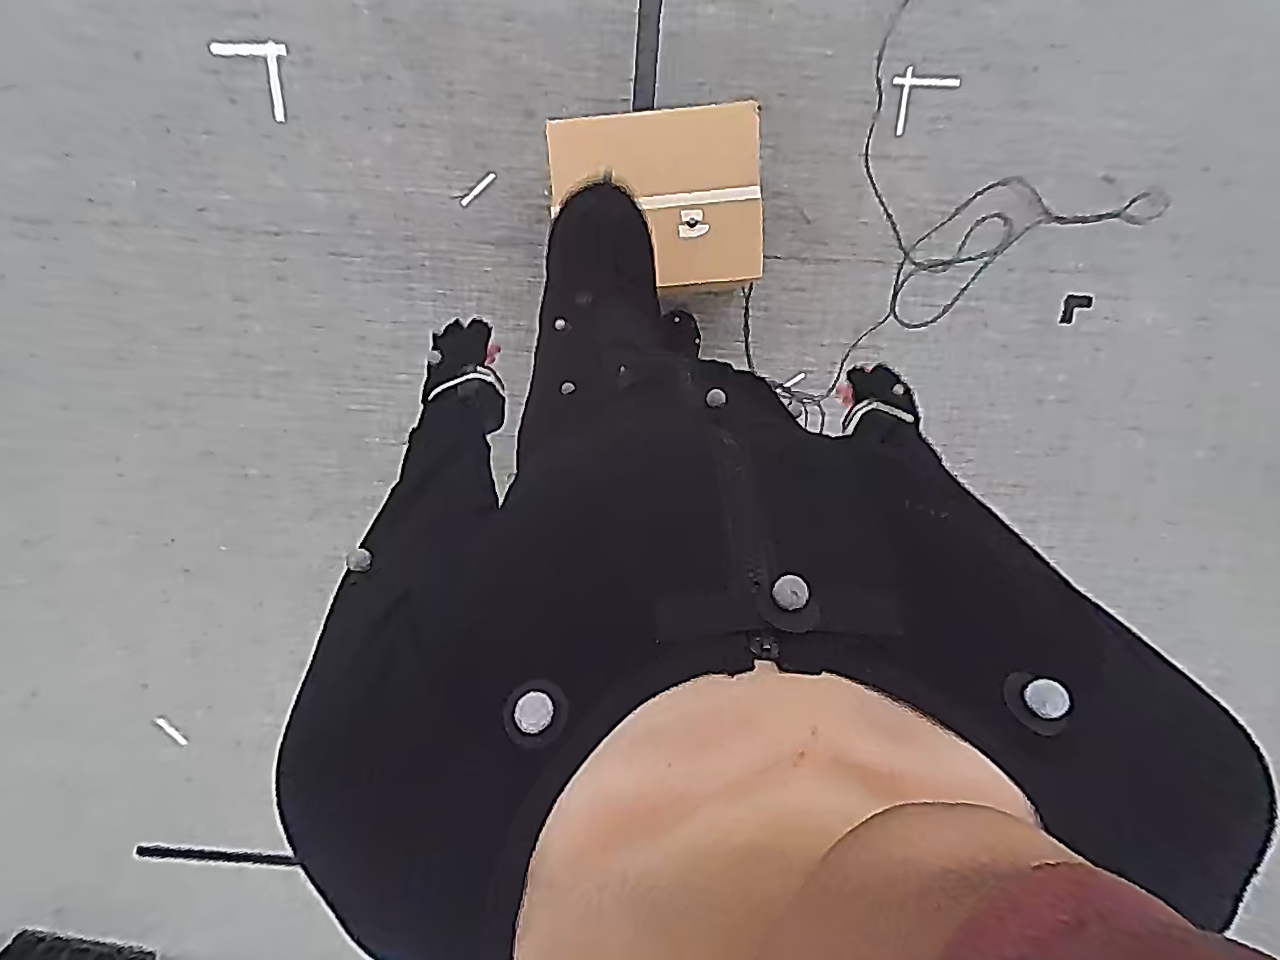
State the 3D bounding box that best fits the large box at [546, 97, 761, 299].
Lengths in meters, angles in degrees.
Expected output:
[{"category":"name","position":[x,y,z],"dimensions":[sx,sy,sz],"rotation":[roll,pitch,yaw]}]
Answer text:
[{"category":"large box","position":[0.031,-0.589,1.195],"dimensions":[0.408,0.320,0.320],"rotation":[-4,105,1]}]
